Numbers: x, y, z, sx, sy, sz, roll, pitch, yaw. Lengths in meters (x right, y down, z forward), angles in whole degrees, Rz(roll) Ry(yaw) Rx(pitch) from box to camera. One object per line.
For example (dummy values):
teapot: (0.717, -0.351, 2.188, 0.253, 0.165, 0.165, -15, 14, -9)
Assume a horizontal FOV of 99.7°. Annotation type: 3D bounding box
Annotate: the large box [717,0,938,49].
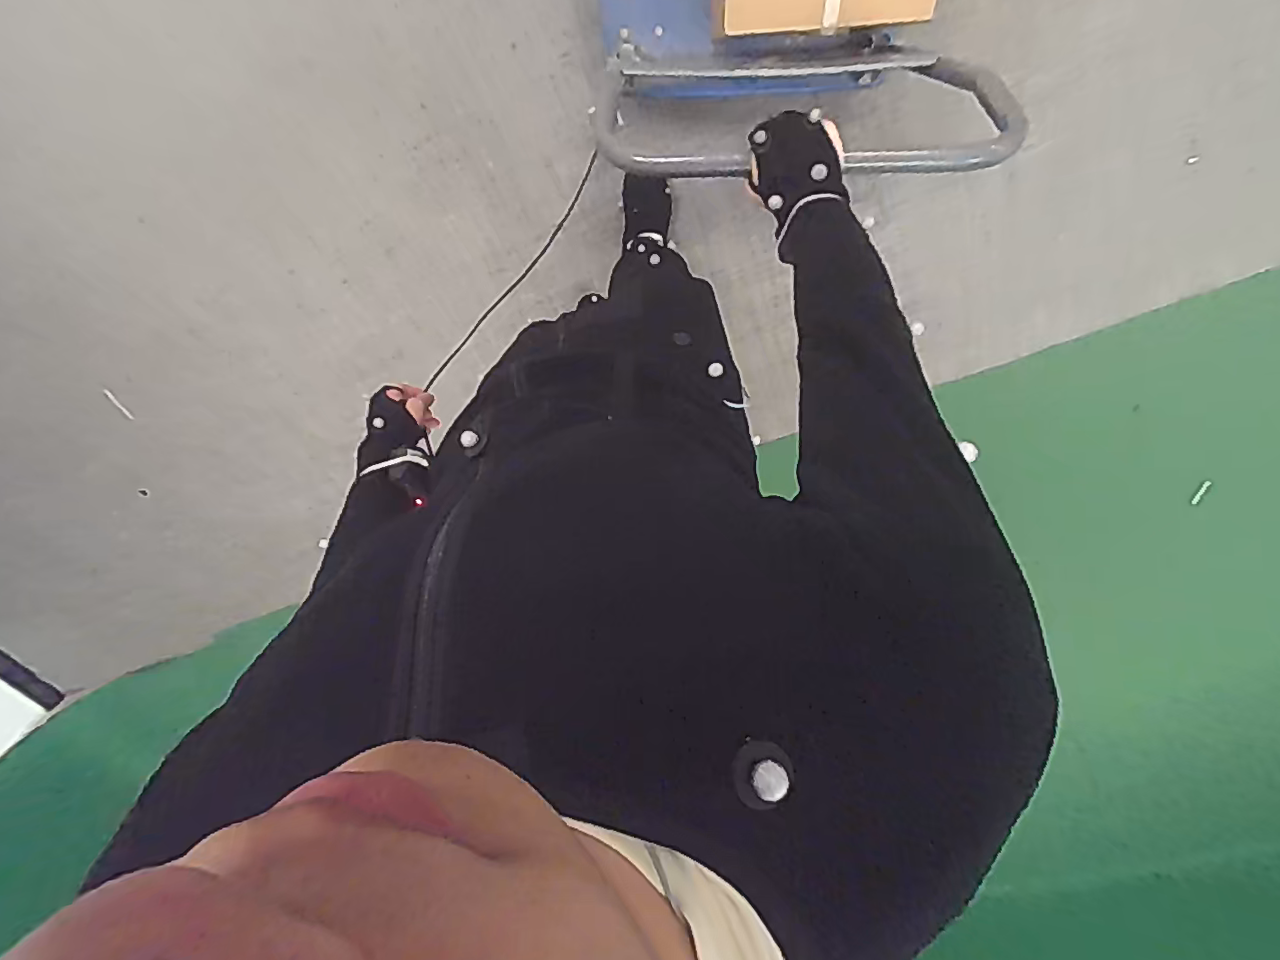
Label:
large box: (0.283, -0.924, 0.822, 0.320, 0.320, 0.408, -1, 128, 3)
